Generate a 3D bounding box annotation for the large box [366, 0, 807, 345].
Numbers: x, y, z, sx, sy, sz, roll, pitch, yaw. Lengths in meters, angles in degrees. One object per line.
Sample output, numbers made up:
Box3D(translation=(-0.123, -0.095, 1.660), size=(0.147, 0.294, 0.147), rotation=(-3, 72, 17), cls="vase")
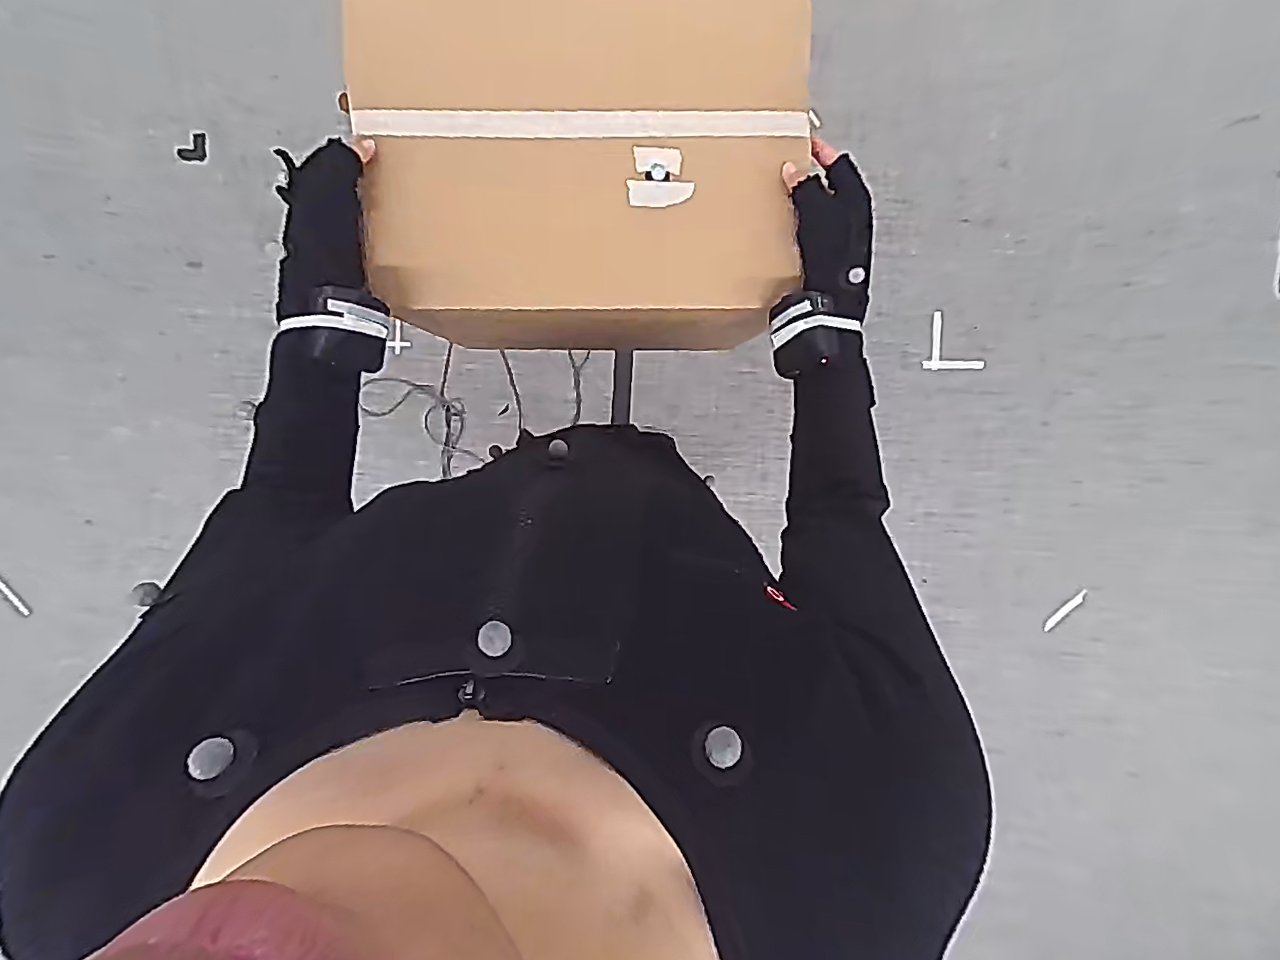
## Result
Box3D(translation=(-0.051, -0.342, 0.647), size=(0.408, 0.320, 0.320), rotation=(-1, 98, -2), cls="large box")
